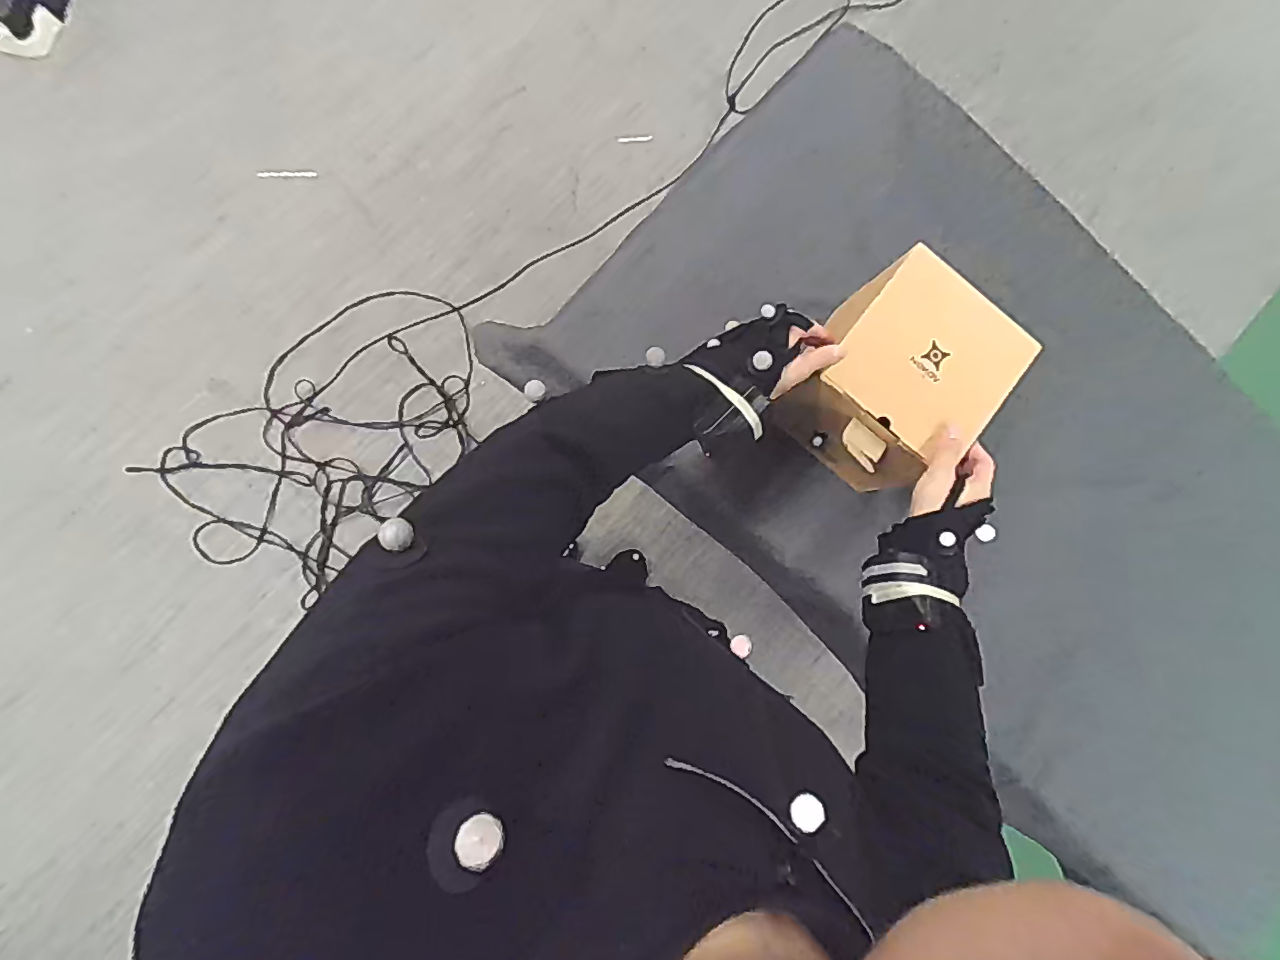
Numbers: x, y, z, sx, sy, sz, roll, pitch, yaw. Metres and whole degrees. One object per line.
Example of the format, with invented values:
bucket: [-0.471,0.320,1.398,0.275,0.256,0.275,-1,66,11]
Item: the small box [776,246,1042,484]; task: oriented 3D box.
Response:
small box: [0.283,-0.113,0.609,0.168,0.176,0.179,39,83,-2]
